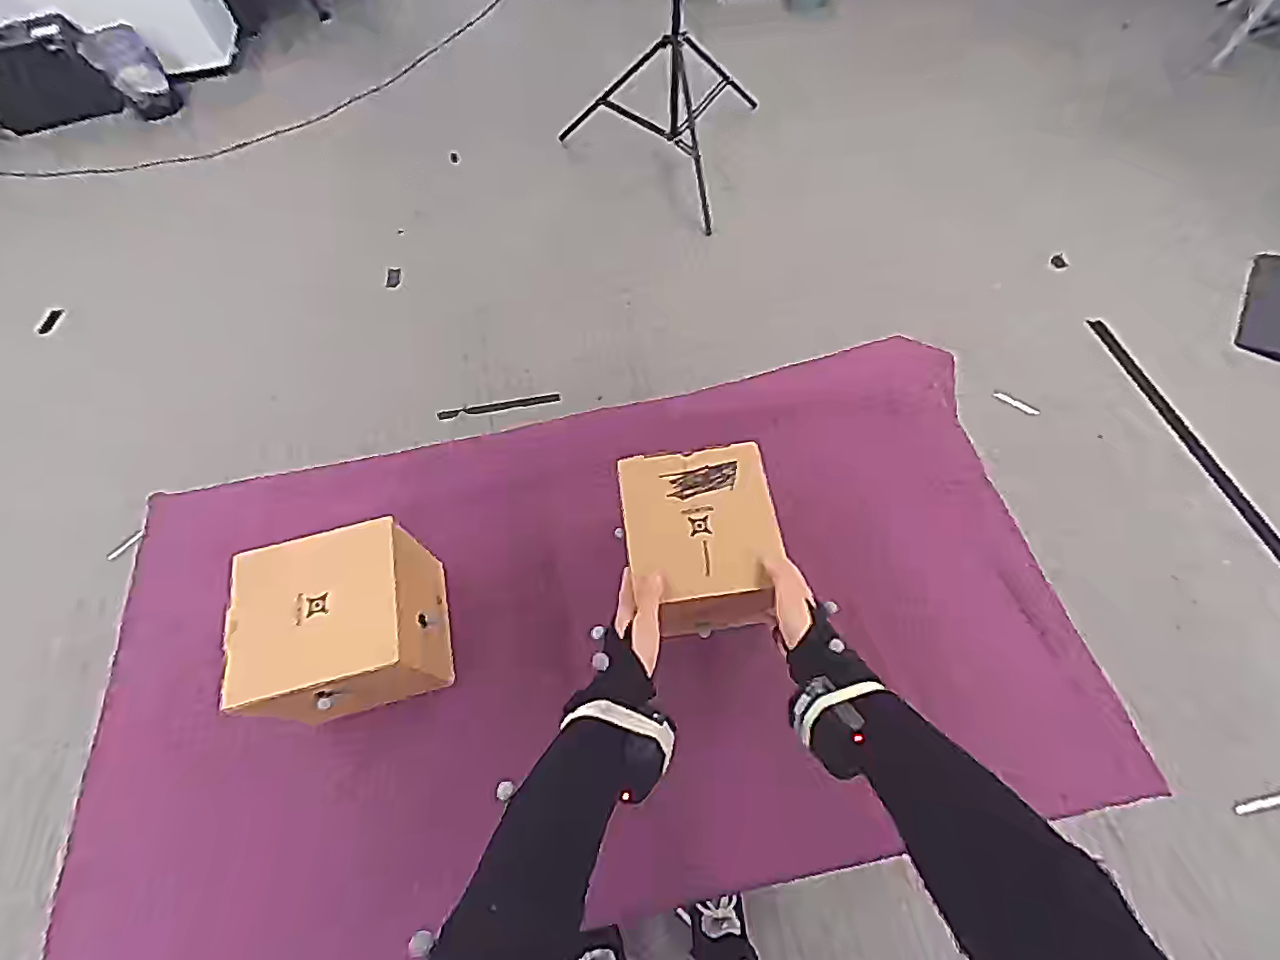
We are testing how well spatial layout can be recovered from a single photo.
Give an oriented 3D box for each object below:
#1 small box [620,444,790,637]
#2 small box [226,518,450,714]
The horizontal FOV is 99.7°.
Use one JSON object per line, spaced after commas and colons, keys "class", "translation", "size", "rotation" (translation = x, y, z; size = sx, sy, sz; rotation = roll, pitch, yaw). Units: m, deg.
{"class": "small box", "translation": [0.068, 0.079, 0.662], "size": [0.168, 0.176, 0.179], "rotation": [-7, 63, -1]}
{"class": "small box", "translation": [-0.337, 0.167, 0.639], "size": [0.179, 0.176, 0.168], "rotation": [-15, 63, -4]}
